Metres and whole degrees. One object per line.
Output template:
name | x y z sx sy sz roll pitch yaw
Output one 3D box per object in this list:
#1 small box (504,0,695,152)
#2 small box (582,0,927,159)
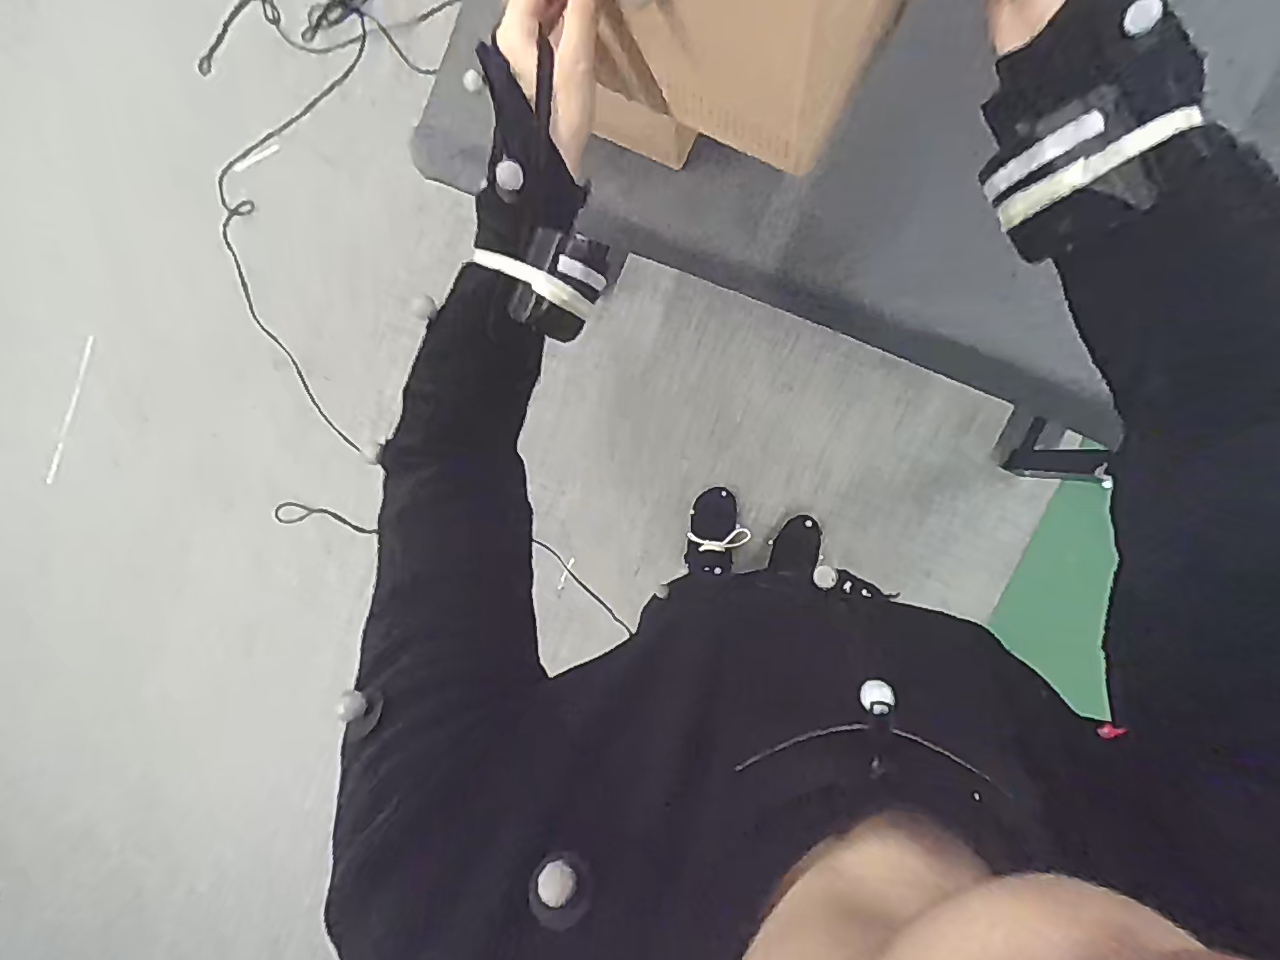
small box | -0.005 -0.467 0.536 0.179 0.176 0.168 26 94 4
small box | 0.065 -0.315 0.285 0.179 0.176 0.168 33 93 13
